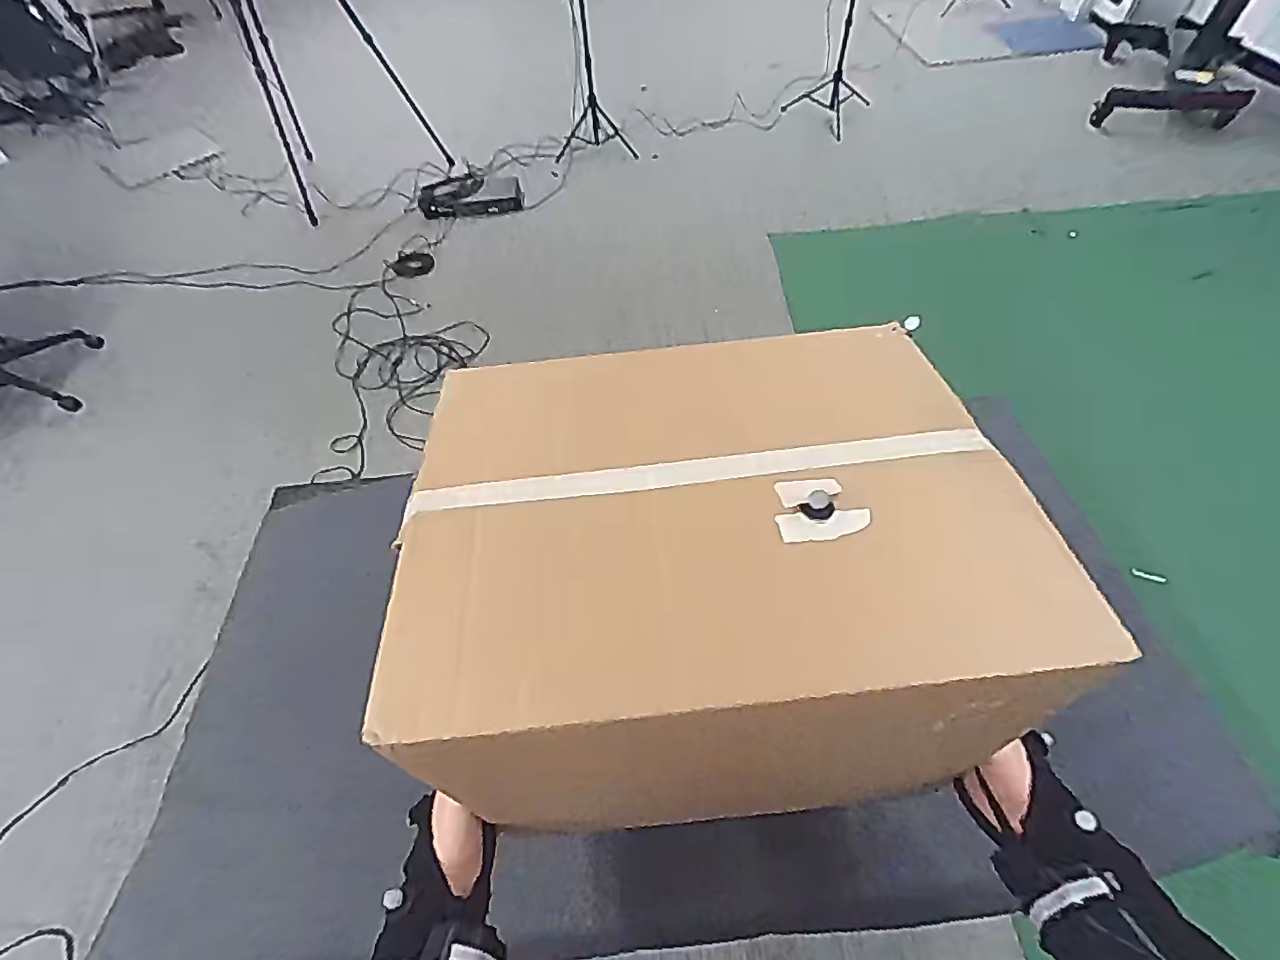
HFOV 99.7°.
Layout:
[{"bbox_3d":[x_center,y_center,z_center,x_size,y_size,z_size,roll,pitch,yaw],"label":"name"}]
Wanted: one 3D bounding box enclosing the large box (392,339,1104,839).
[{"bbox_3d":[0.055,0.105,0.501,0.408,0.320,0.320,-6,49,-1],"label":"large box"}]
